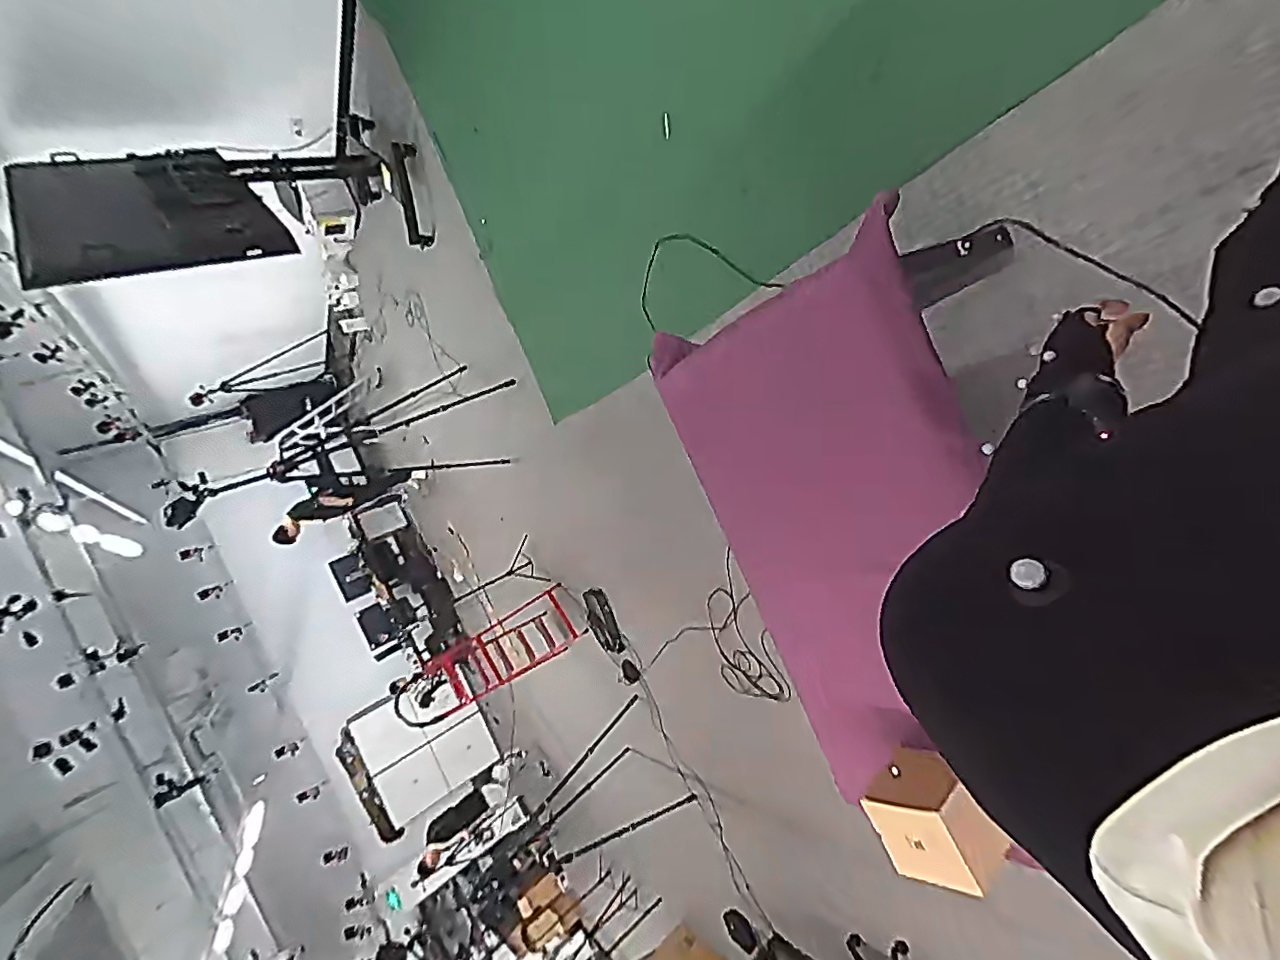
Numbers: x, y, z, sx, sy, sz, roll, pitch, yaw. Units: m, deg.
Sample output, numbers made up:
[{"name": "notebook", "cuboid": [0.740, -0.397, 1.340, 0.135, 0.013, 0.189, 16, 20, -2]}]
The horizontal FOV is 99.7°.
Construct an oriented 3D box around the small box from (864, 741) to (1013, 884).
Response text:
[{"name": "small box", "cuboid": [0.605, 0.658, 1.098, 0.168, 0.176, 0.179, 62, 147, 3]}]
